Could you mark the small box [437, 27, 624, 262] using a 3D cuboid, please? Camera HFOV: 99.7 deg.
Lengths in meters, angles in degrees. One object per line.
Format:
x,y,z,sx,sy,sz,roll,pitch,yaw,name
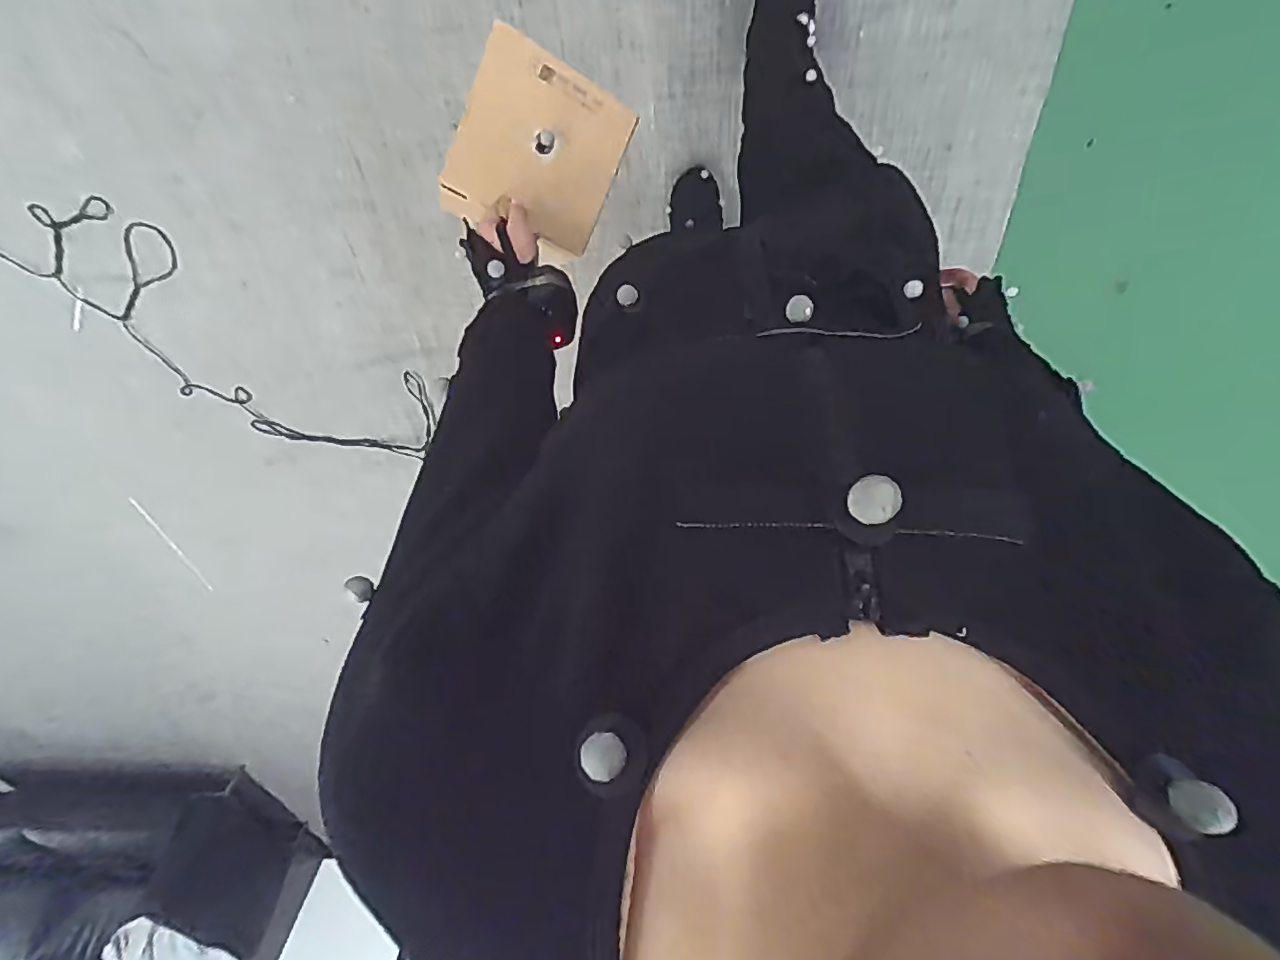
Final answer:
-0.136,-0.386,0.653,0.168,0.179,0.176,19,100,-25,small box
